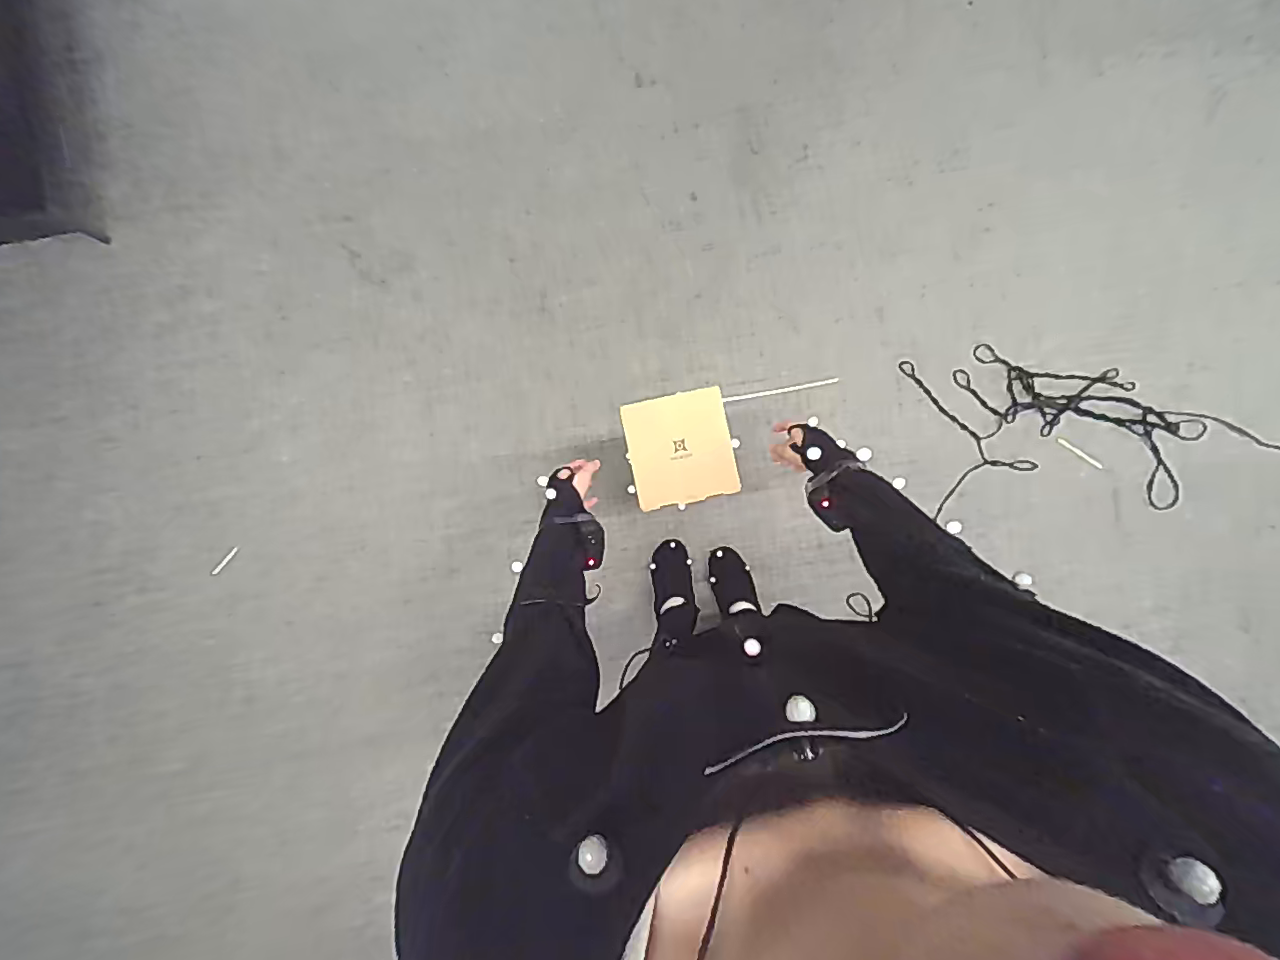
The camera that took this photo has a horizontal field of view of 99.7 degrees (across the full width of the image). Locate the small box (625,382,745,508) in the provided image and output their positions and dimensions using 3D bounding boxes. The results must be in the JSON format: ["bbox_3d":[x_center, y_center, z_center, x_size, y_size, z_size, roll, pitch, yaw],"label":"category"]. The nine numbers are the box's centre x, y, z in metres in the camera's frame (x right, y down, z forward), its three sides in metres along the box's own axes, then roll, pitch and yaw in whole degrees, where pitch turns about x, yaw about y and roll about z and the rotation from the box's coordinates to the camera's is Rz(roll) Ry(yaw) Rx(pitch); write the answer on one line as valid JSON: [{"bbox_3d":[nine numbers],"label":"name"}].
[{"bbox_3d":[0.072,-0.052,0.930,0.168,0.176,0.179,-12,89,2],"label":"small box"}]
